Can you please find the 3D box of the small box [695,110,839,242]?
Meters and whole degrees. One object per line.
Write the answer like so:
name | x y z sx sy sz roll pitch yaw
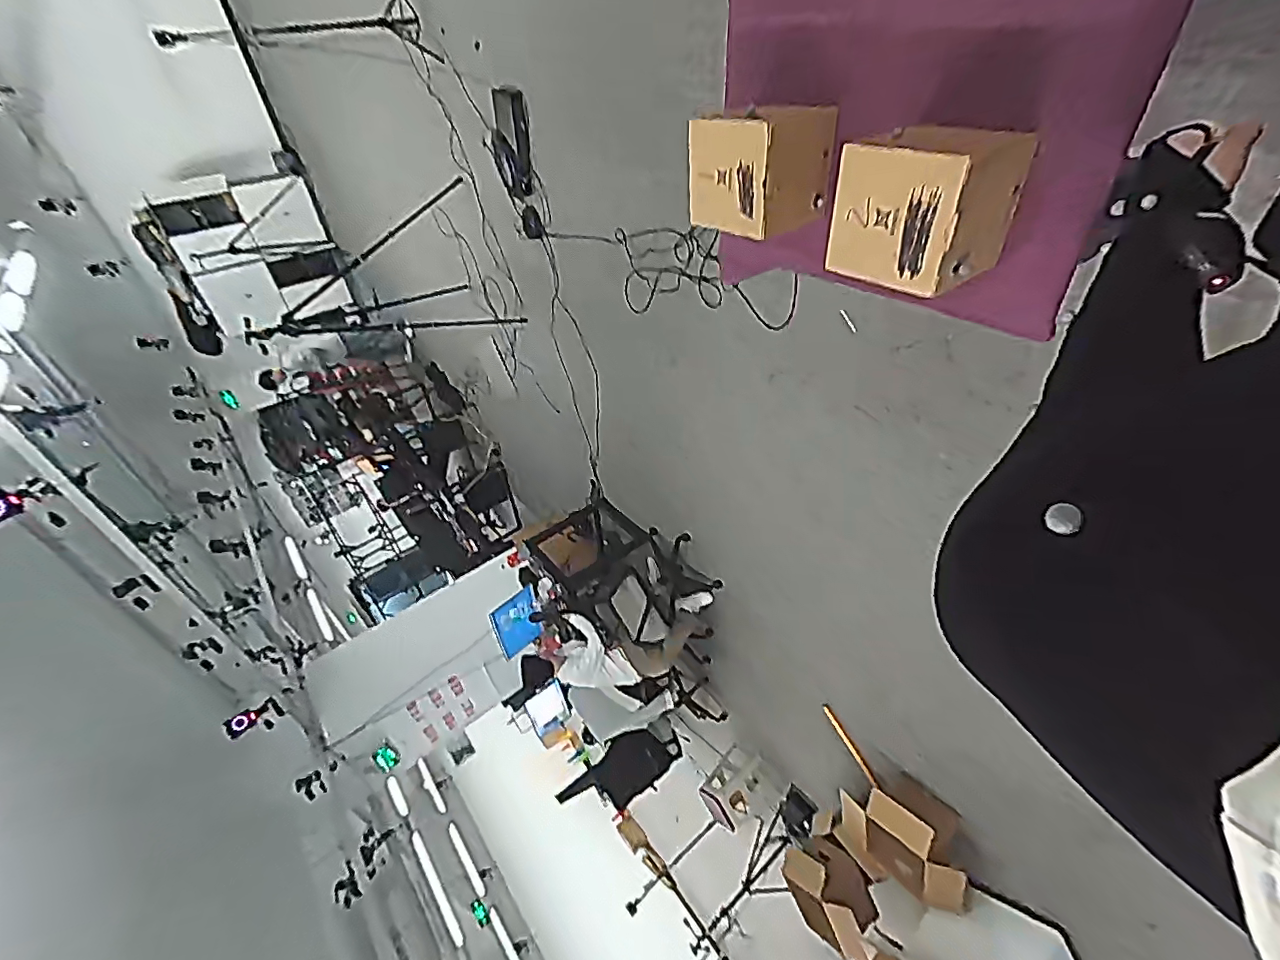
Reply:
small box | 0.217 -0.531 0.935 0.179 0.176 0.168 37 145 40
